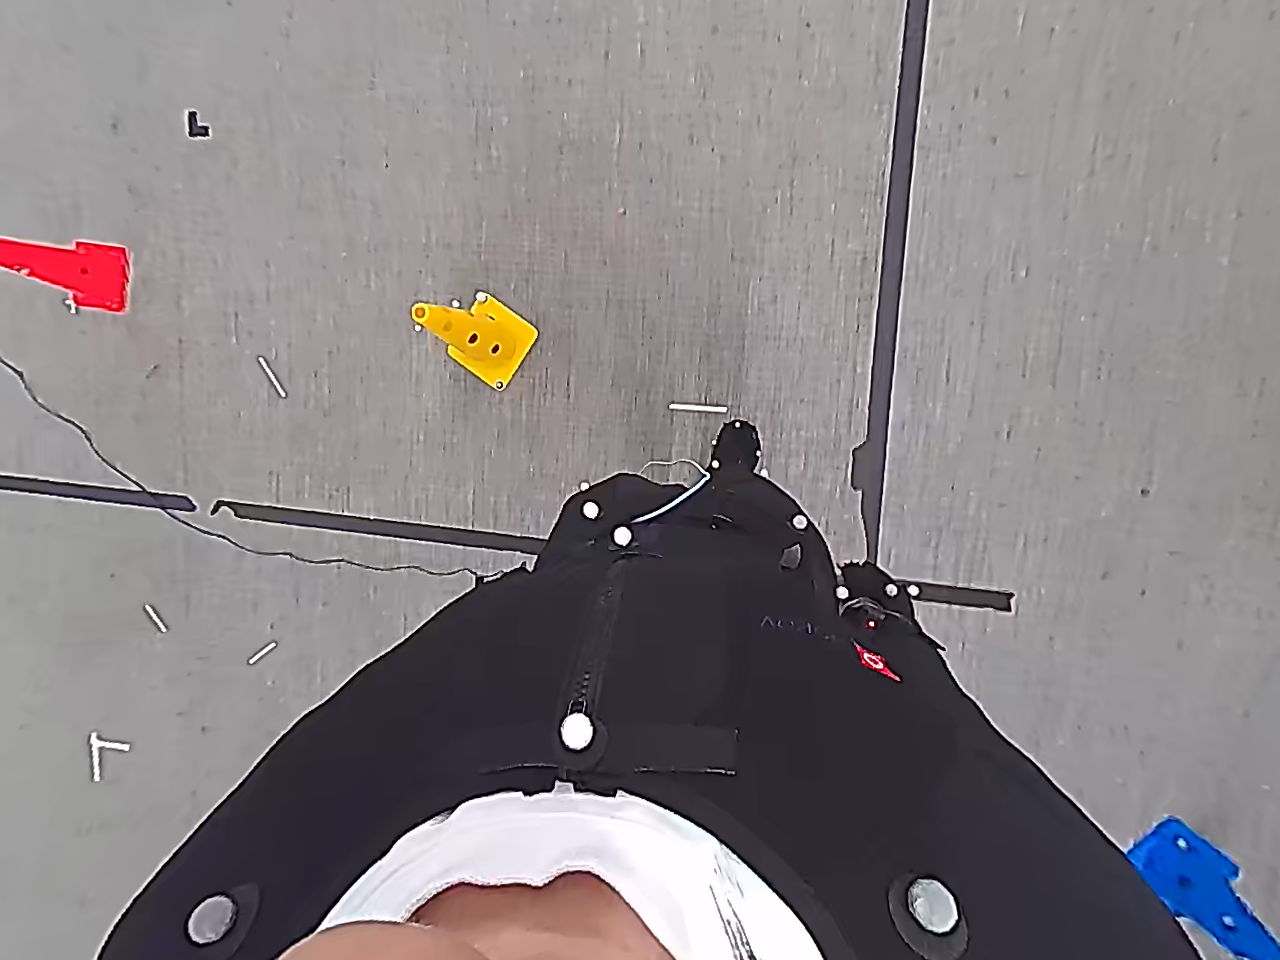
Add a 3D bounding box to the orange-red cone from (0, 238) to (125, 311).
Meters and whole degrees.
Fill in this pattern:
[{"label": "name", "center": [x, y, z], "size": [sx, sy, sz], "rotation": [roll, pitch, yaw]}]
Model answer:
[{"label": "orange-red cone", "center": [-1.693, -0.614, 1.492], "size": [0.199, 0.360, 0.198], "rotation": [12, 97, 7]}]
